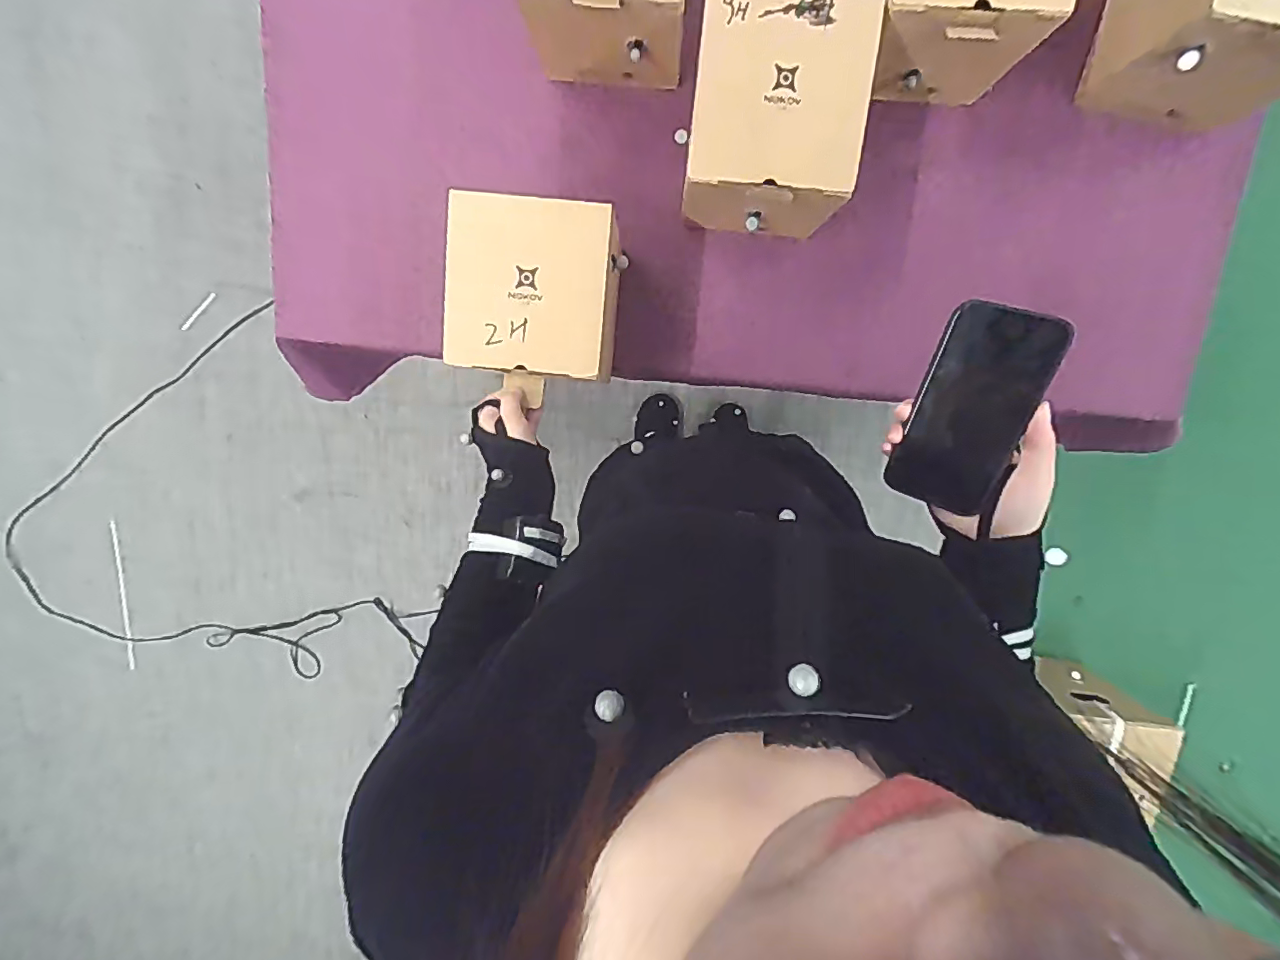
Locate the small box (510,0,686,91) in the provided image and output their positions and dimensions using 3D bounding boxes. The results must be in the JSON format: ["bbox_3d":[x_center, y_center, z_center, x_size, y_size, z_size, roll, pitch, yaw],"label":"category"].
[{"bbox_3d":[-0.032,-0.546,0.567,0.168,0.176,0.179,6,101,1],"label":"small box"}]

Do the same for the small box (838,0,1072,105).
[{"bbox_3d":[0.316,-0.525,0.555,0.168,0.176,0.179,3,103,2],"label":"small box"}]

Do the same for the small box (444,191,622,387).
[{"bbox_3d":[-0.113,-0.207,0.632,0.168,0.176,0.179,7,99,1],"label":"small box"}]
